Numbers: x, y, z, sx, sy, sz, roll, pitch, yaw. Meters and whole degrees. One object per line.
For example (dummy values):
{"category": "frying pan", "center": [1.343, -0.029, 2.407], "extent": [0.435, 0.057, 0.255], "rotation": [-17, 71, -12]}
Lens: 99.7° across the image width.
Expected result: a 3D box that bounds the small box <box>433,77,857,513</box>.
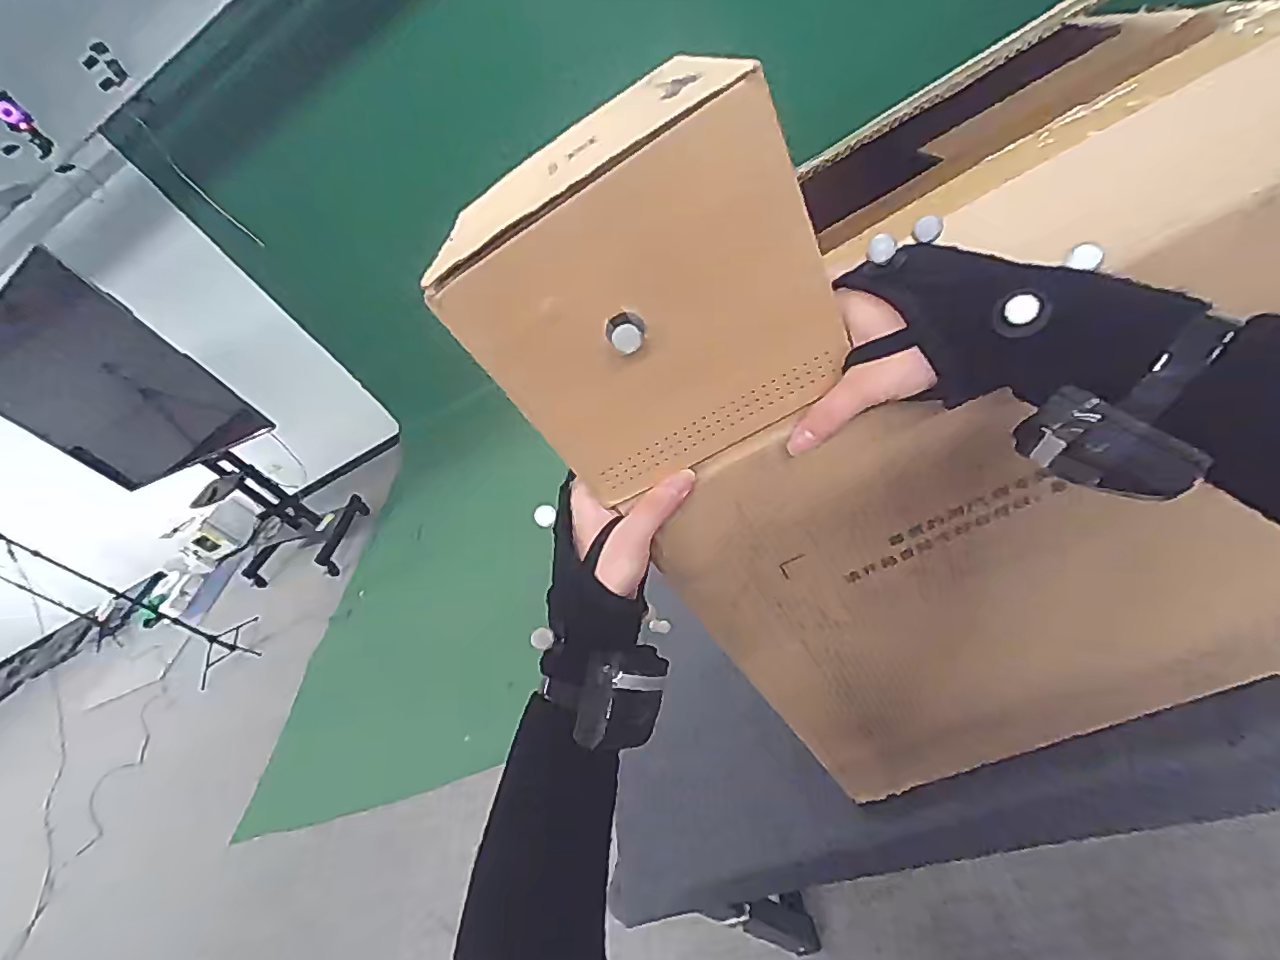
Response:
{"category": "small box", "center": [0.006, -0.109, 0.342], "extent": [0.179, 0.176, 0.168], "rotation": [-28, 39, 12]}
